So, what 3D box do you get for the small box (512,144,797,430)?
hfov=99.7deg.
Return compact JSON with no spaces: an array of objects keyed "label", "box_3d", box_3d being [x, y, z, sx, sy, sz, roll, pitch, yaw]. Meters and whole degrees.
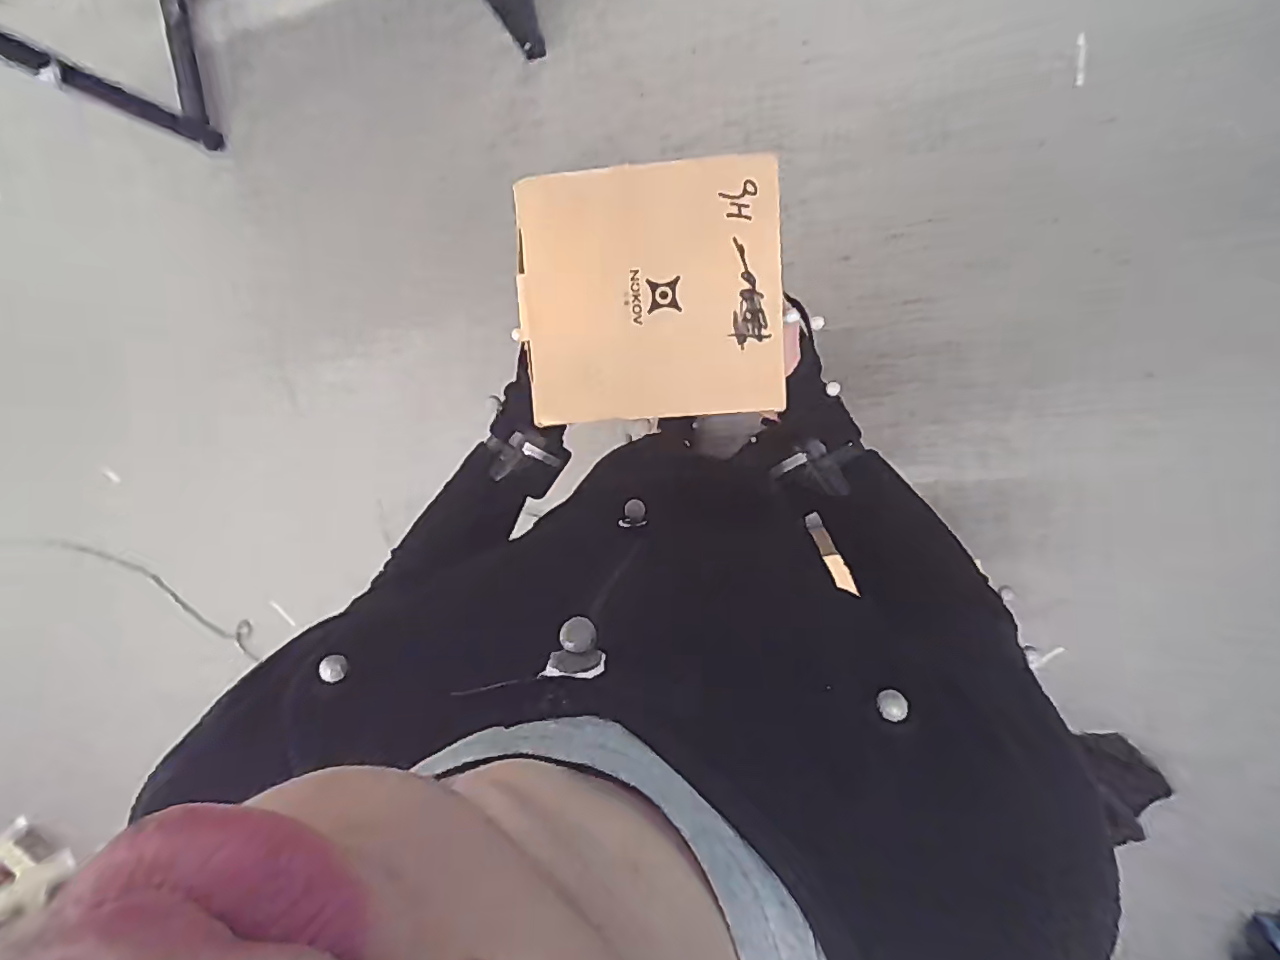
[{"label":"small box","box_3d":[0.016,-0.127,0.424,0.179,0.176,0.168,-4,95,5]}]
